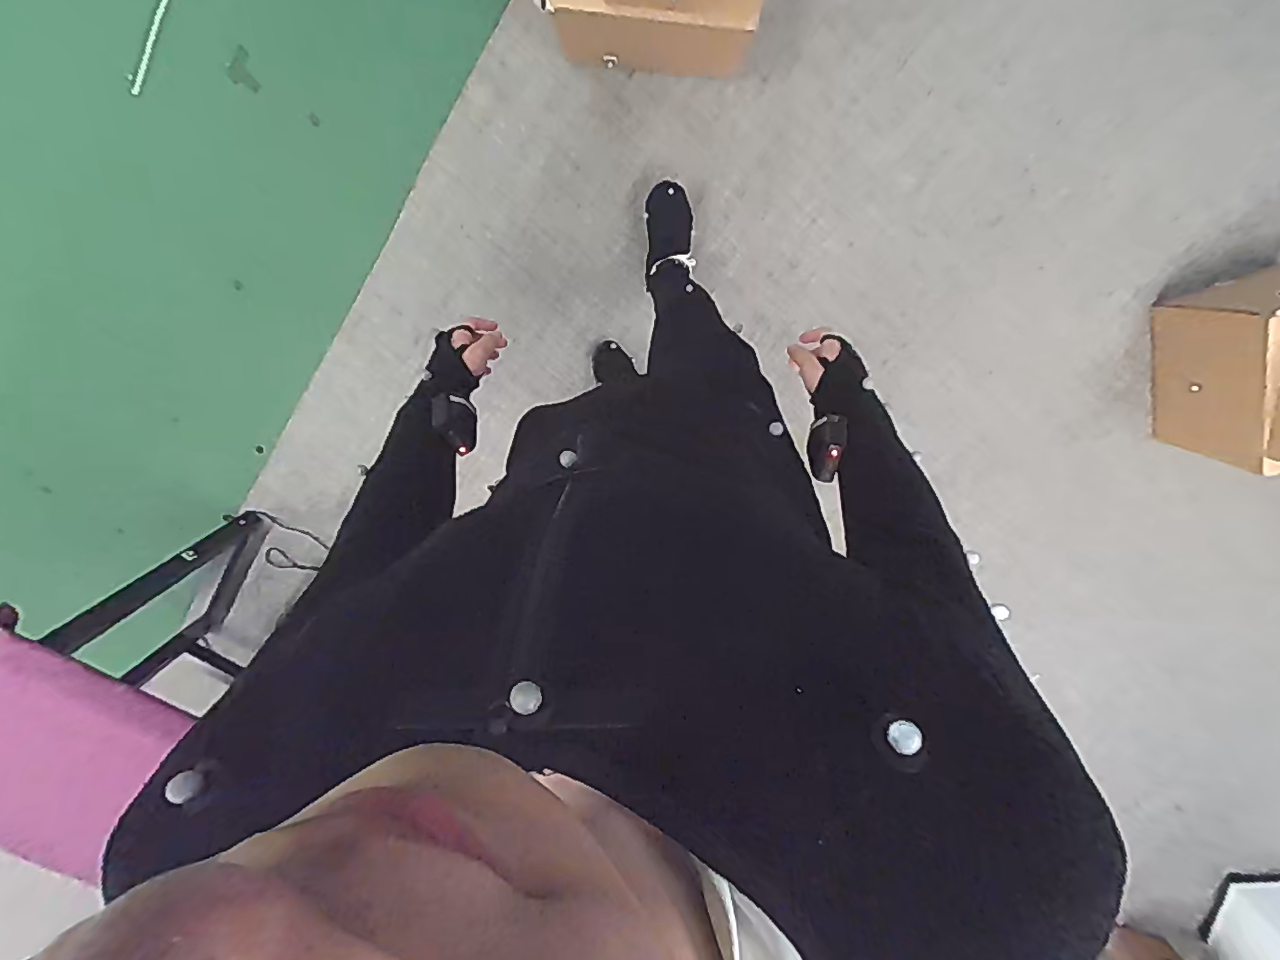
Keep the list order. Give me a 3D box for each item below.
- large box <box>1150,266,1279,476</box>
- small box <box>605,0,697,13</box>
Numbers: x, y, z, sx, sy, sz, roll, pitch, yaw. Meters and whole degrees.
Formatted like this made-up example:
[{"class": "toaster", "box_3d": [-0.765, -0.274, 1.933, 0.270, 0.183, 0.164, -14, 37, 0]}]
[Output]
[{"class": "large box", "box_3d": [1.571, -0.281, 1.347, 0.320, 0.320, 0.408, -19, 109, 8]}, {"class": "small box", "box_3d": [0.024, -0.901, 0.882, 0.179, 0.176, 0.168, 6, 112, 0]}]
